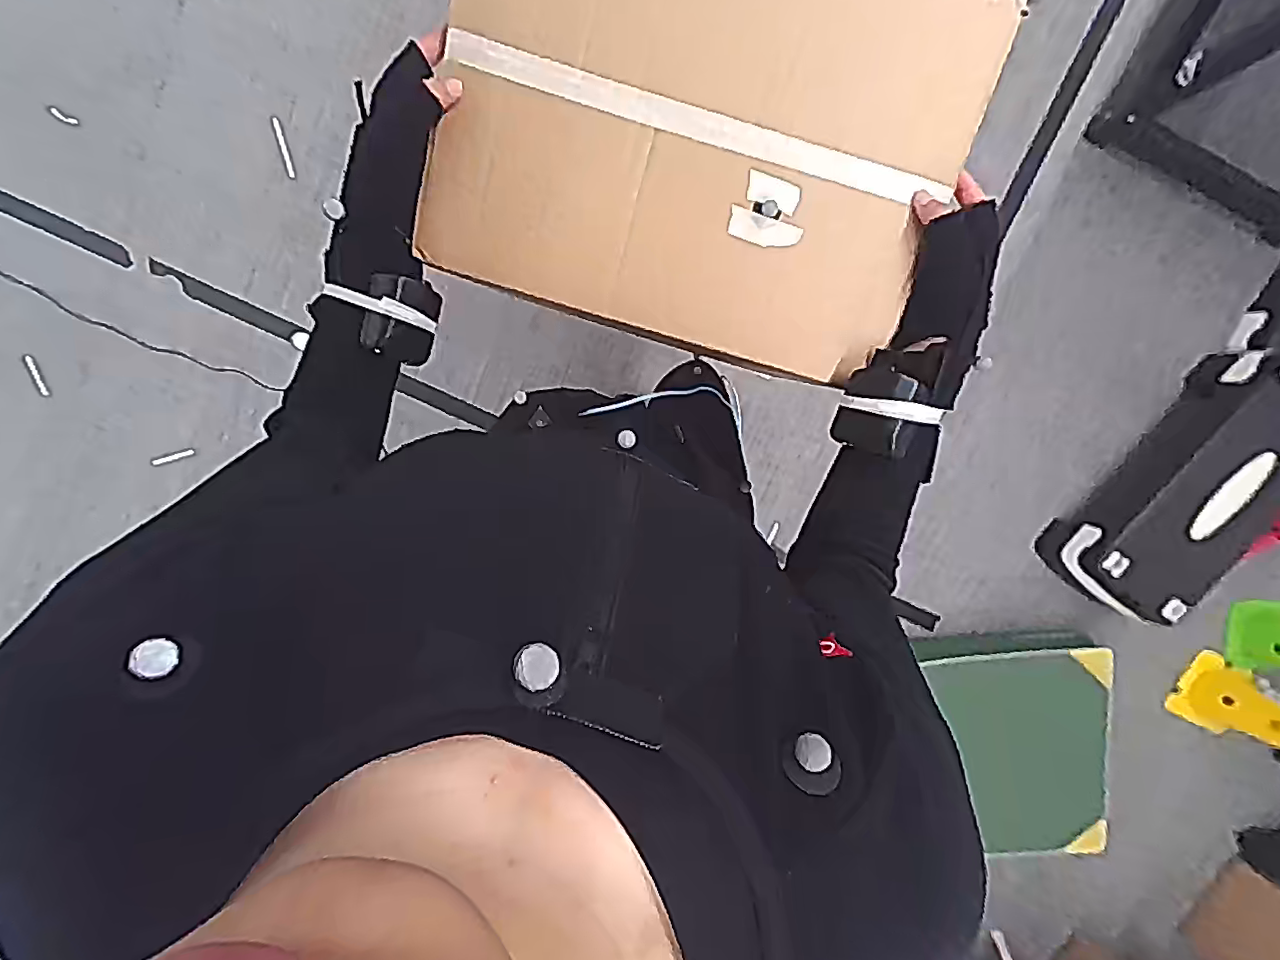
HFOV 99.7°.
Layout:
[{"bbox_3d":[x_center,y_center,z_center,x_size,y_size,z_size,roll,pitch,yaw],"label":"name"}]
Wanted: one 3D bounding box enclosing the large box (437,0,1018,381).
[{"bbox_3d":[0.057,-0.313,0.575,0.408,0.320,0.320,16,104,-4],"label":"large box"}]
